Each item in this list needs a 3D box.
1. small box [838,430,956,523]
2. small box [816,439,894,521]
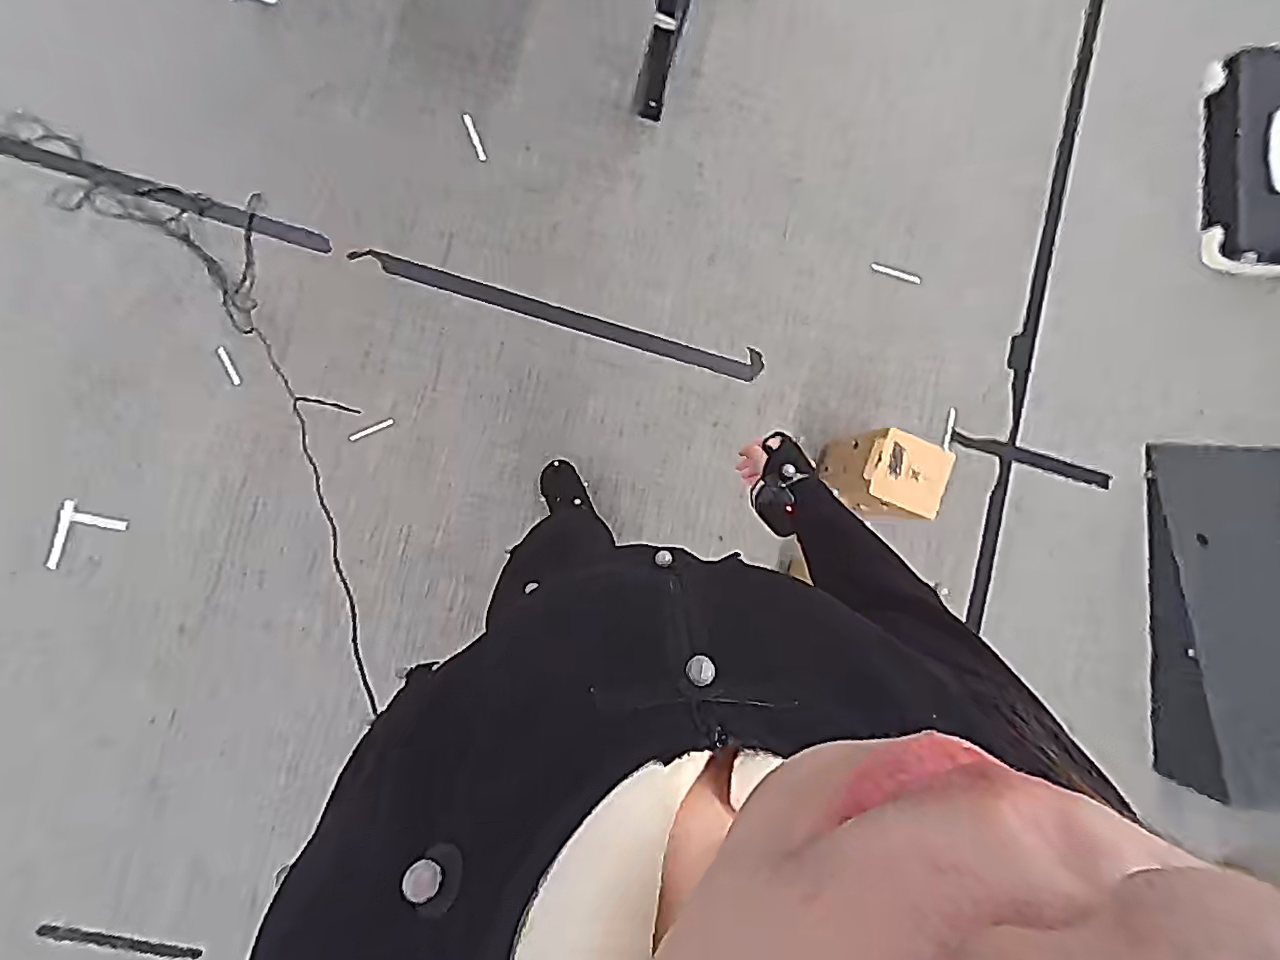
[{"bbox_3d":[0.611,-0.003,1.308,0.179,0.176,0.168,22,86,-5],"label":"small box"},{"bbox_3d":[0.602,0.001,1.473,0.168,0.176,0.179,18,87,-4],"label":"small box"}]
